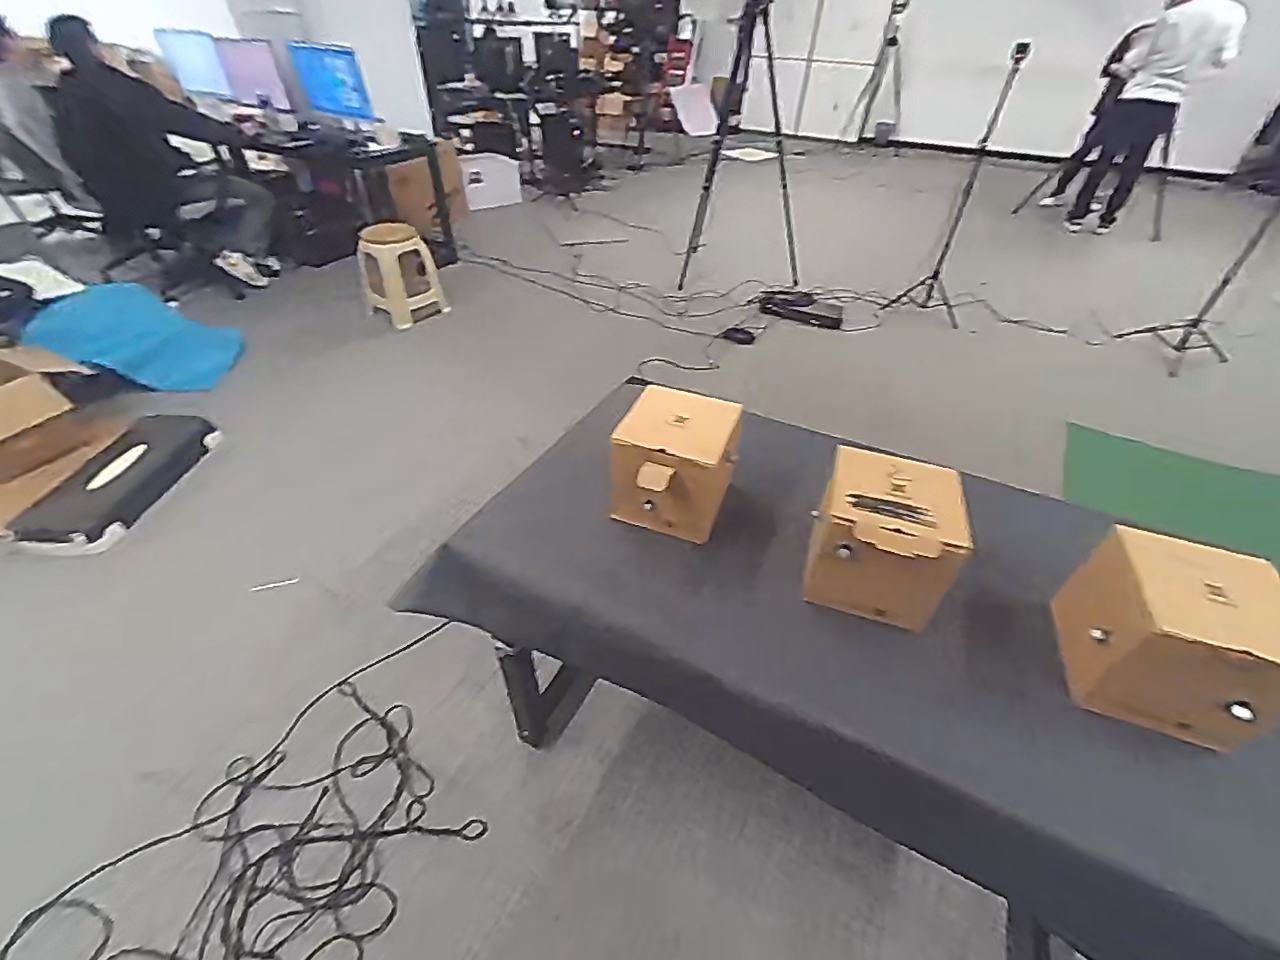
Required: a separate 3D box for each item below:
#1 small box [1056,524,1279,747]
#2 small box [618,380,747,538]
[{"bbox_3d":[0.655,0.189,0.662,0.168,0.176,0.179,16,41,14],"label":"small box"},{"bbox_3d":[0.066,-0.037,0.896,0.168,0.176,0.179,16,43,15],"label":"small box"}]
